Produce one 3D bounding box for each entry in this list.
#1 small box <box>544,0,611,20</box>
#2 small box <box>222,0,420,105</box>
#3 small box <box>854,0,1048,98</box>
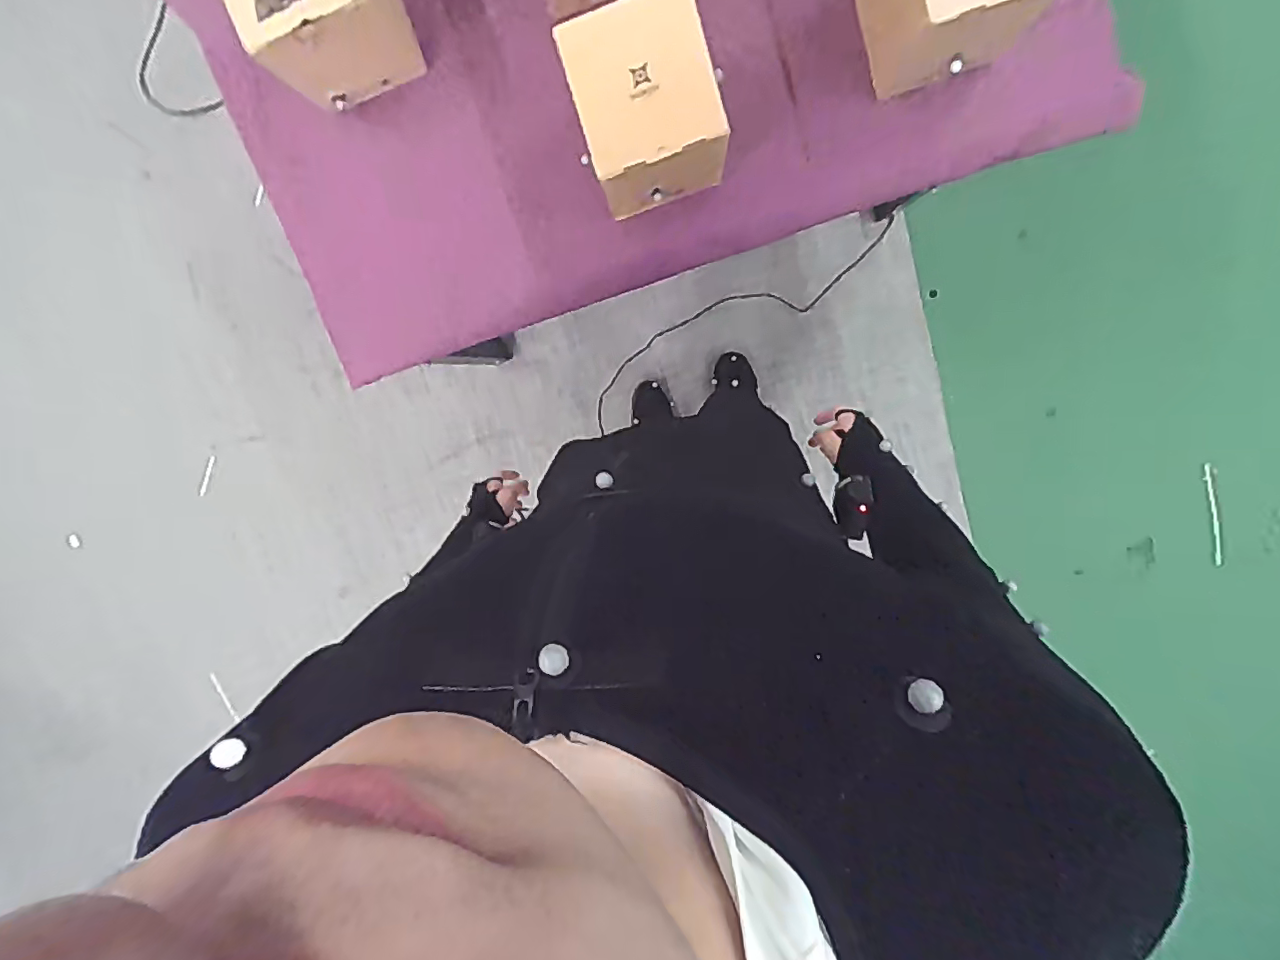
[{"bbox_3d":[-0.080,-0.736,0.667,0.168,0.176,0.179,-17,101,7],"label":"small box"},{"bbox_3d":[-0.420,-0.631,0.704,0.168,0.176,0.179,-18,99,6],"label":"small box"},{"bbox_3d":[0.375,-0.621,0.658,0.168,0.176,0.179,-16,99,7],"label":"small box"}]
